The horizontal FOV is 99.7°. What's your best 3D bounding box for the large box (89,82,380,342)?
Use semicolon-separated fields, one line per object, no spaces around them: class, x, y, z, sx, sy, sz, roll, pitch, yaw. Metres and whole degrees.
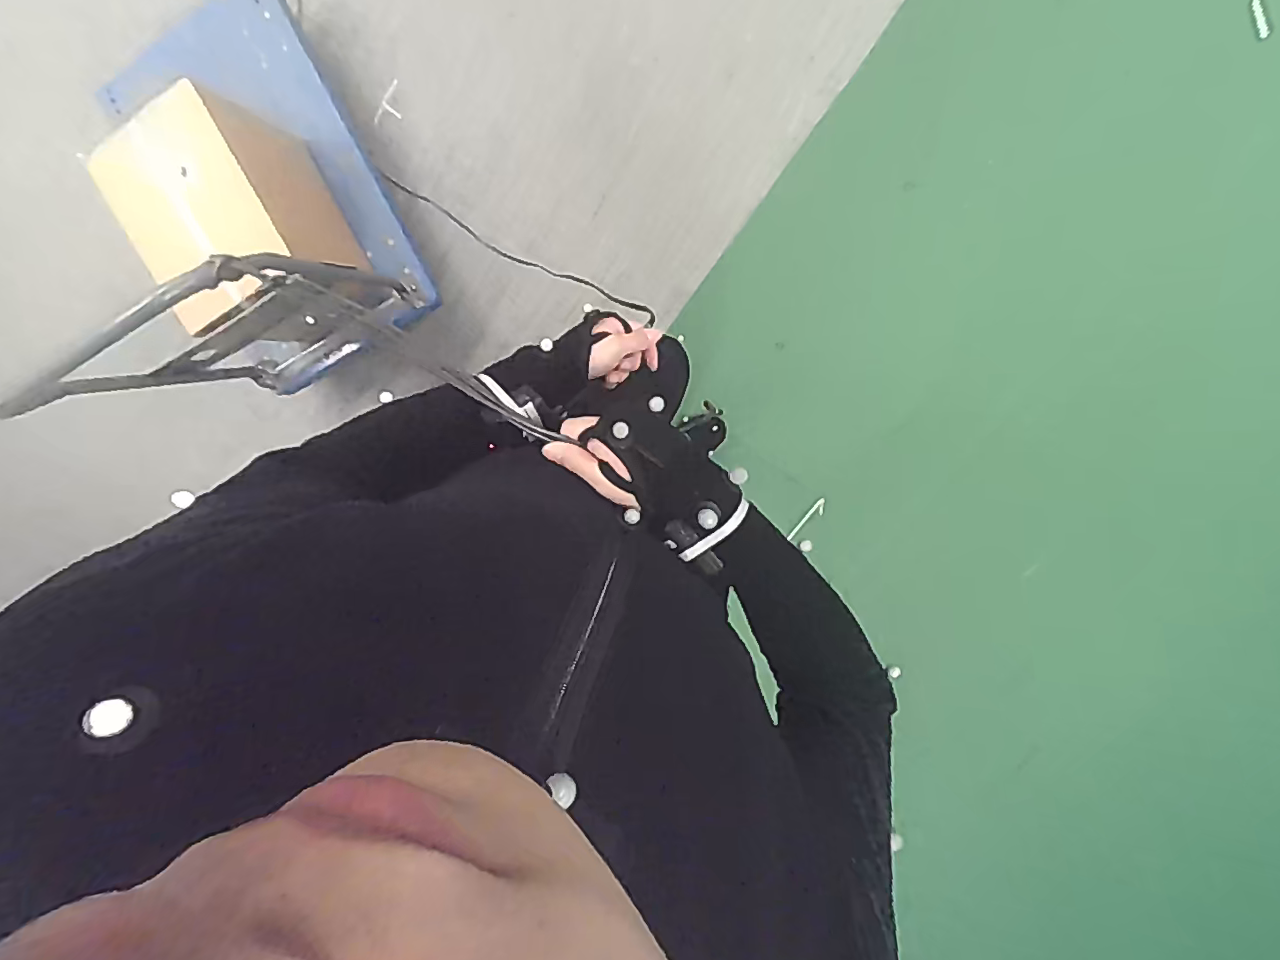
large box;-0.908;-0.580;1.264;0.320;0.320;0.408;-26;97;11
